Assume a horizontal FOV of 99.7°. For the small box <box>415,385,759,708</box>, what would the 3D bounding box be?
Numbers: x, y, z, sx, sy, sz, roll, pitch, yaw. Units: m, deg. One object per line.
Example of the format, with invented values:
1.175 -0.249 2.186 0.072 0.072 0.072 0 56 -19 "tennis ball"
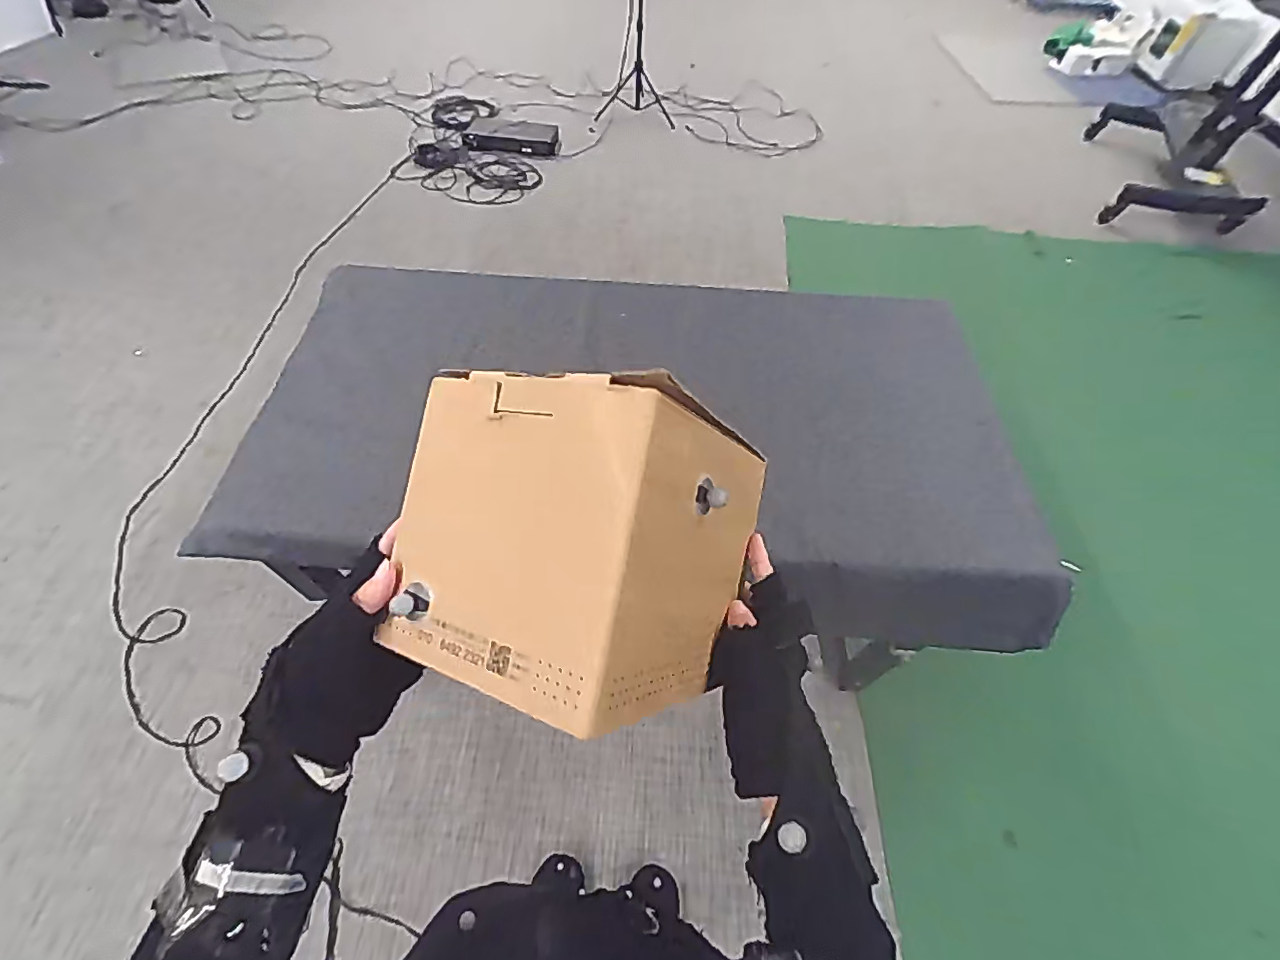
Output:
-0.033 0.042 0.379 0.168 0.179 0.176 10 86 31 "small box"
